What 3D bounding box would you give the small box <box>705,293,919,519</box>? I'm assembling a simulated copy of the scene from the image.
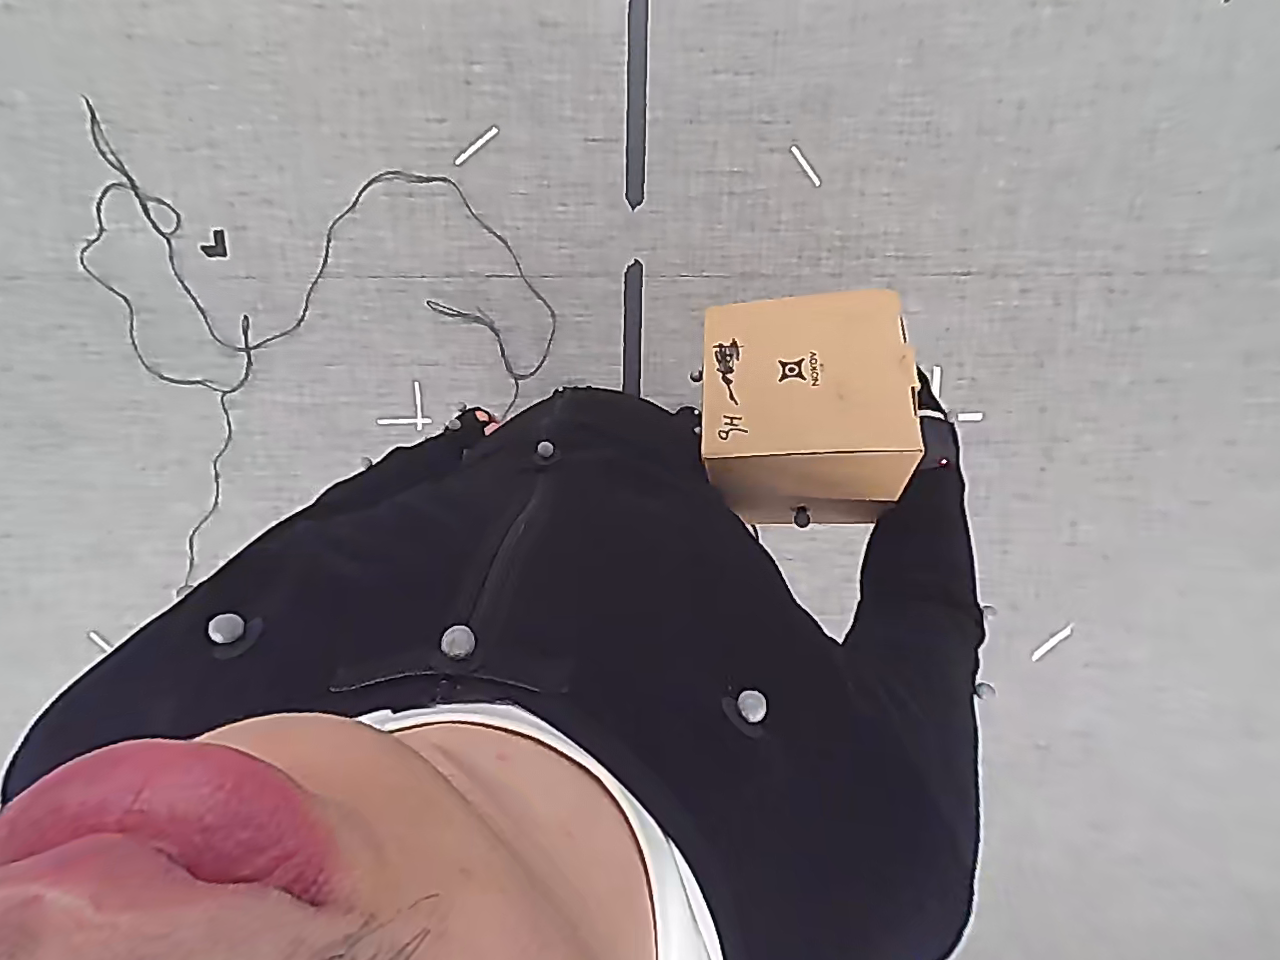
[{"bbox_3d":[0.163,-0.065,0.557,0.179,0.176,0.168,-1,65,13],"label":"small box"}]
